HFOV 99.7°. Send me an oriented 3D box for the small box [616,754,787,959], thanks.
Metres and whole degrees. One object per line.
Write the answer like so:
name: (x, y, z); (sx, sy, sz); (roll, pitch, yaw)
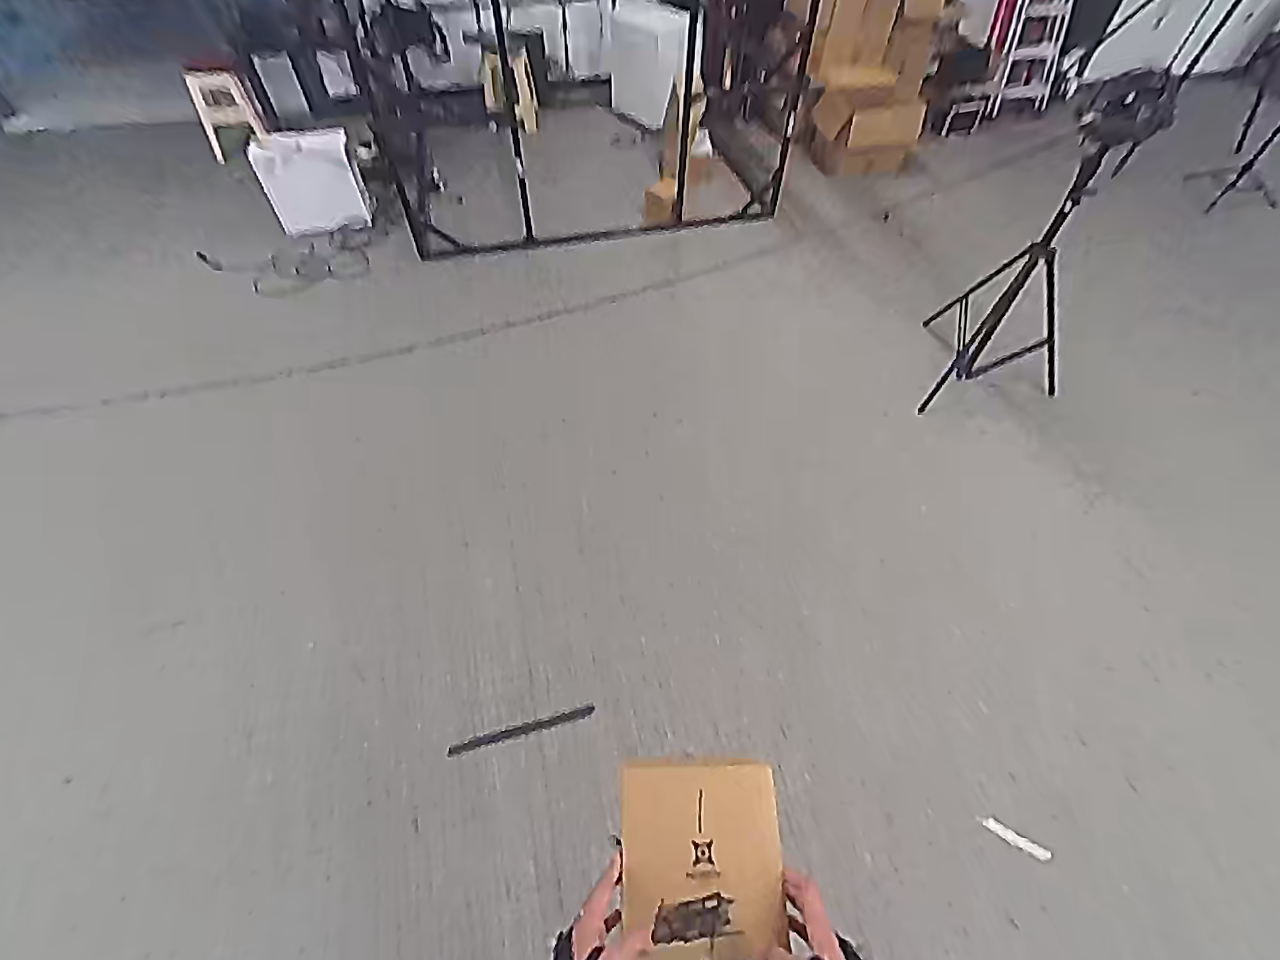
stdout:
small box: (0.057, 0.417, 0.616); (0.168, 0.176, 0.179); (0, 66, -3)
